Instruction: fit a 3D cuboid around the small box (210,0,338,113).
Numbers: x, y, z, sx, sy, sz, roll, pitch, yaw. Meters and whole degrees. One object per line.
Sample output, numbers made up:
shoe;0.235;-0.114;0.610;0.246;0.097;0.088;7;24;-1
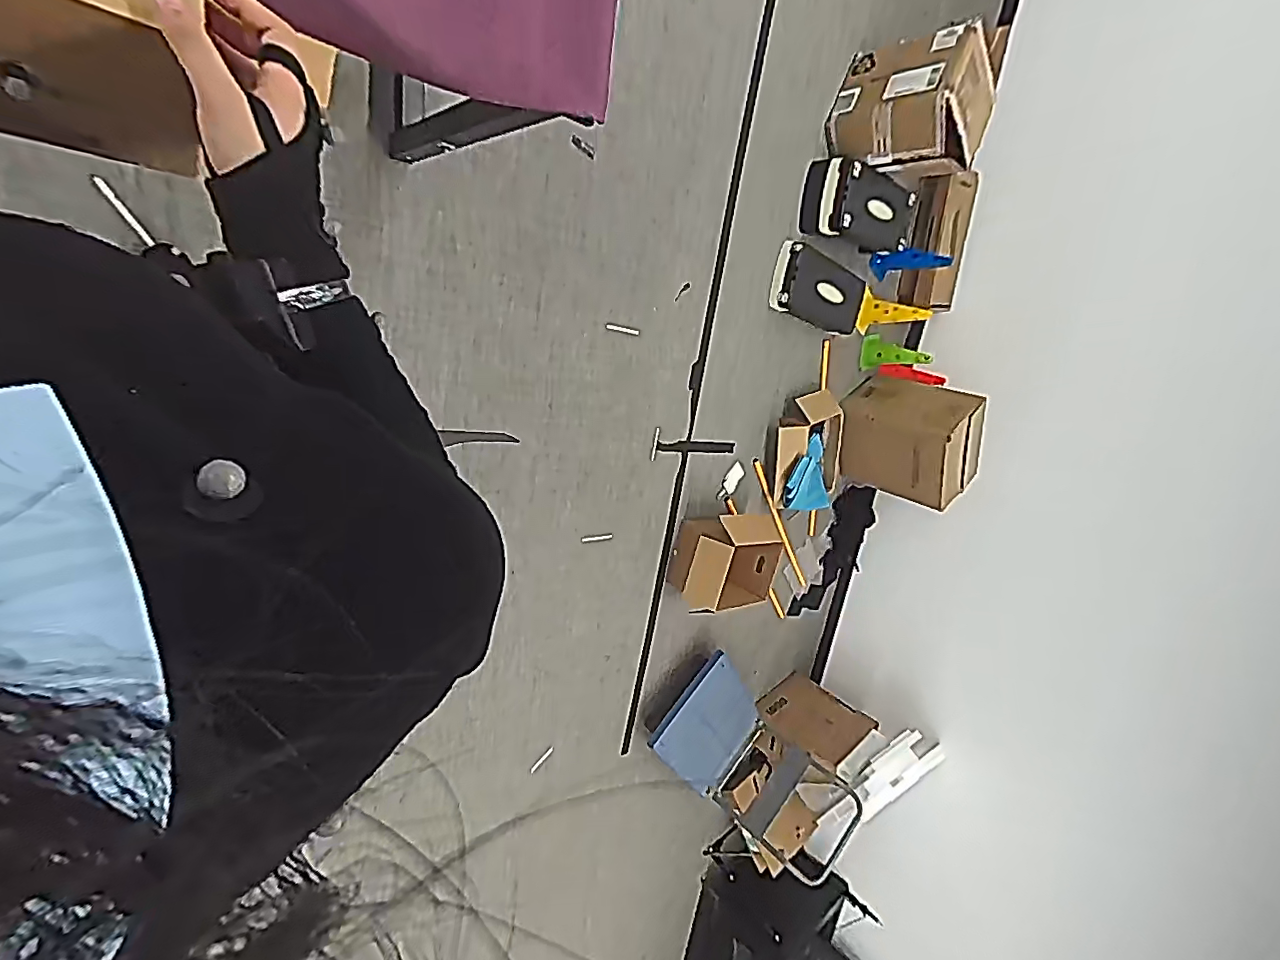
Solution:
small box;-0.707;-0.846;1.038;0.168;0.176;0.179;8;101;-46

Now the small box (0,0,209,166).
small box;-0.375;-0.336;0.333;0.168;0.176;0.179;-2;87;-42
